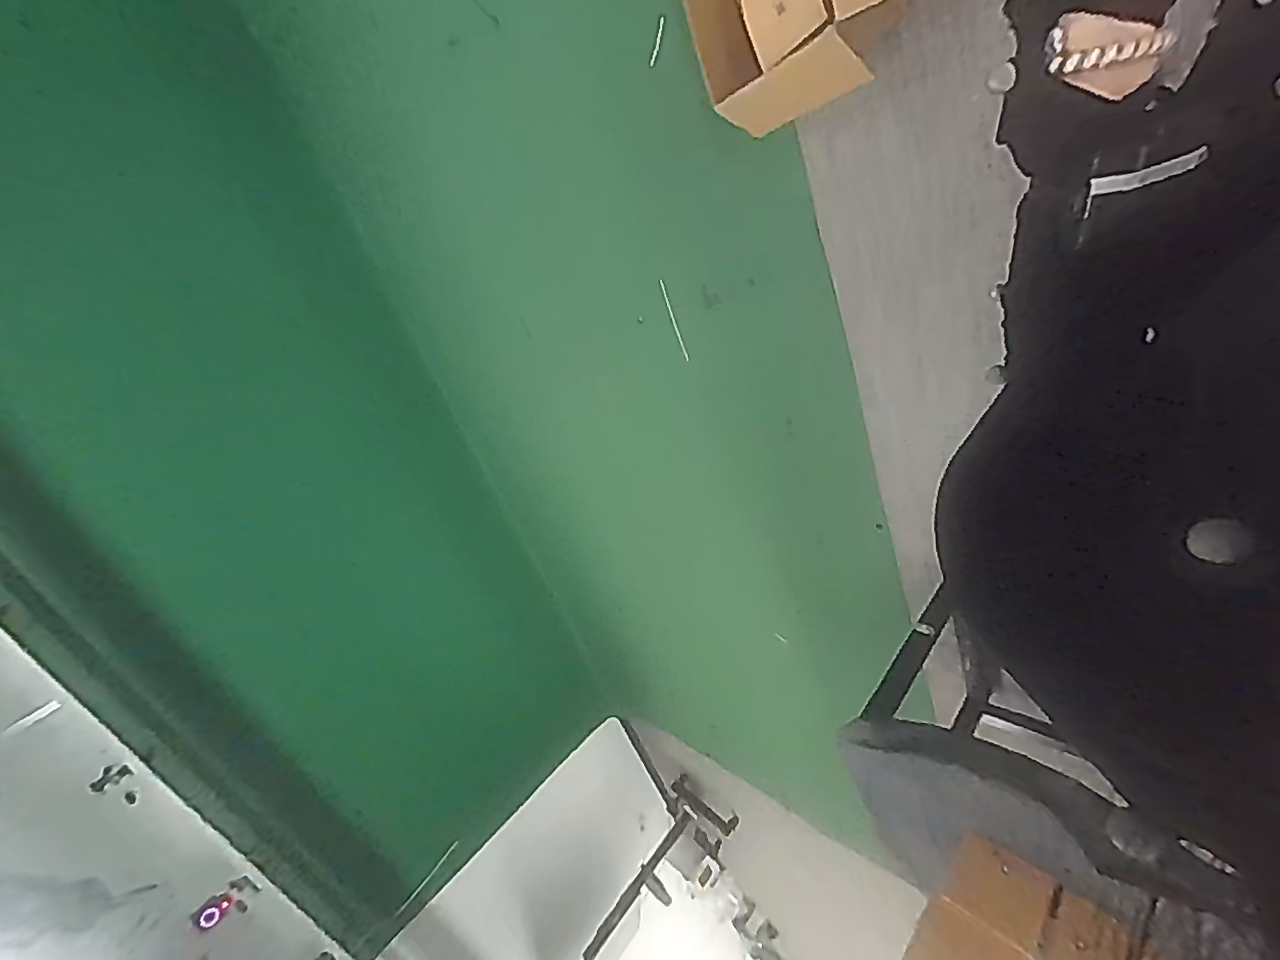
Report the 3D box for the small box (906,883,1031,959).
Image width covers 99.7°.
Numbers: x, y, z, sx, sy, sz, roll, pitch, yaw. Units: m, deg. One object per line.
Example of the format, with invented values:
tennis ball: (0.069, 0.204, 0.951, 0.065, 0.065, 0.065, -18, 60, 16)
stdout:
small box: (0.663, 0.978, 1.095, 0.179, 0.176, 0.168, 18, 134, 44)
